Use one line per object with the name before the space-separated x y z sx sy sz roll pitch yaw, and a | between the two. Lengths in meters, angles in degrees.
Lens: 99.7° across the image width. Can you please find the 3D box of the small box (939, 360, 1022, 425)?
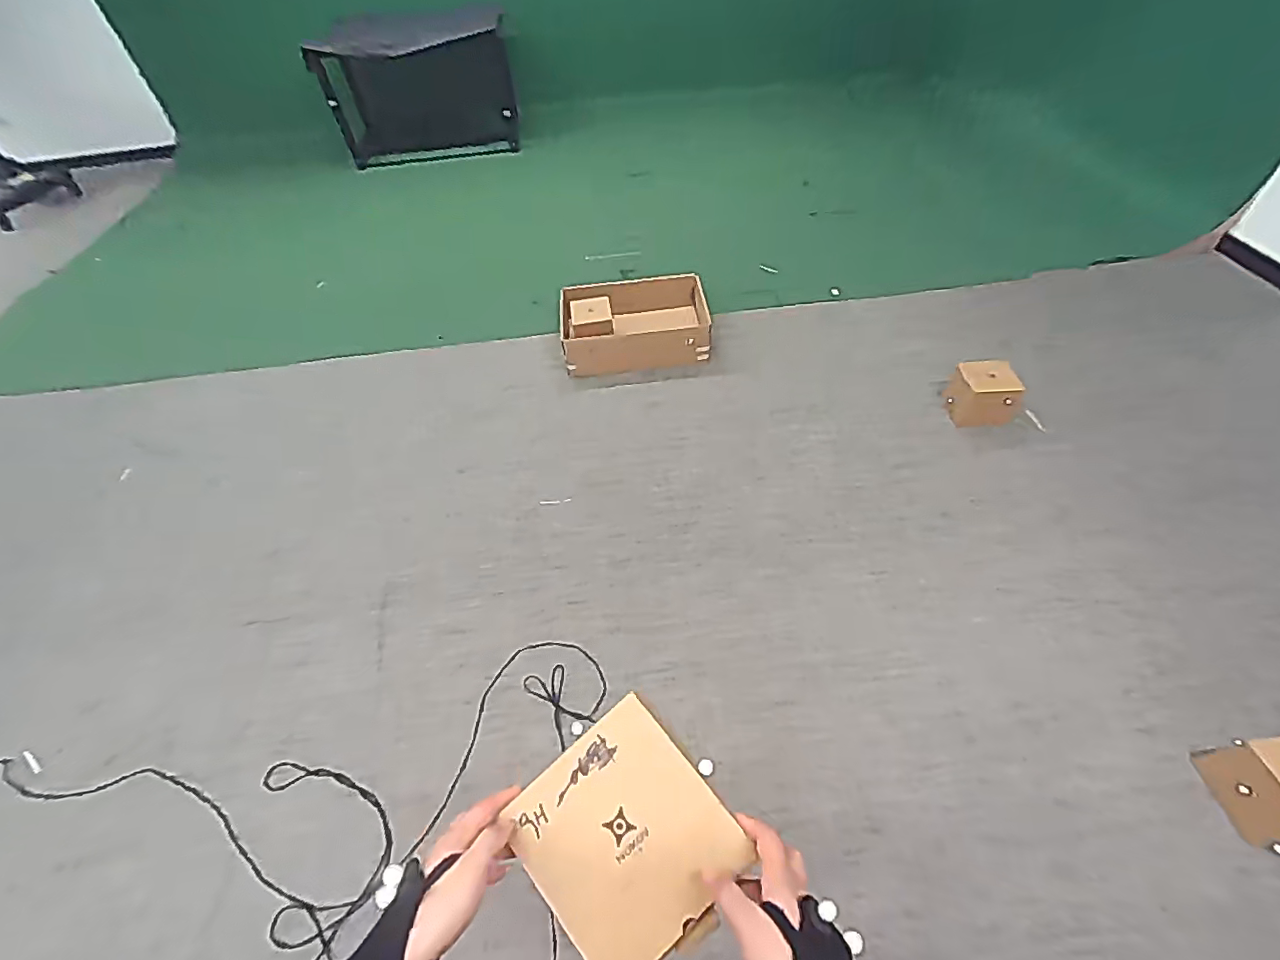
small box | 1.225 -0.316 1.959 0.179 0.176 0.168 -3 50 3

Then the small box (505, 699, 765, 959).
small box | -0.003 0.345 0.550 0.168 0.176 0.179 -39 74 -11

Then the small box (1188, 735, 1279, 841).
small box | 1.365 0.661 1.158 0.168 0.176 0.179 -6 50 0

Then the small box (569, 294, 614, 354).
small box | -0.204 -0.661 2.291 0.168 0.176 0.179 -9 52 -2
